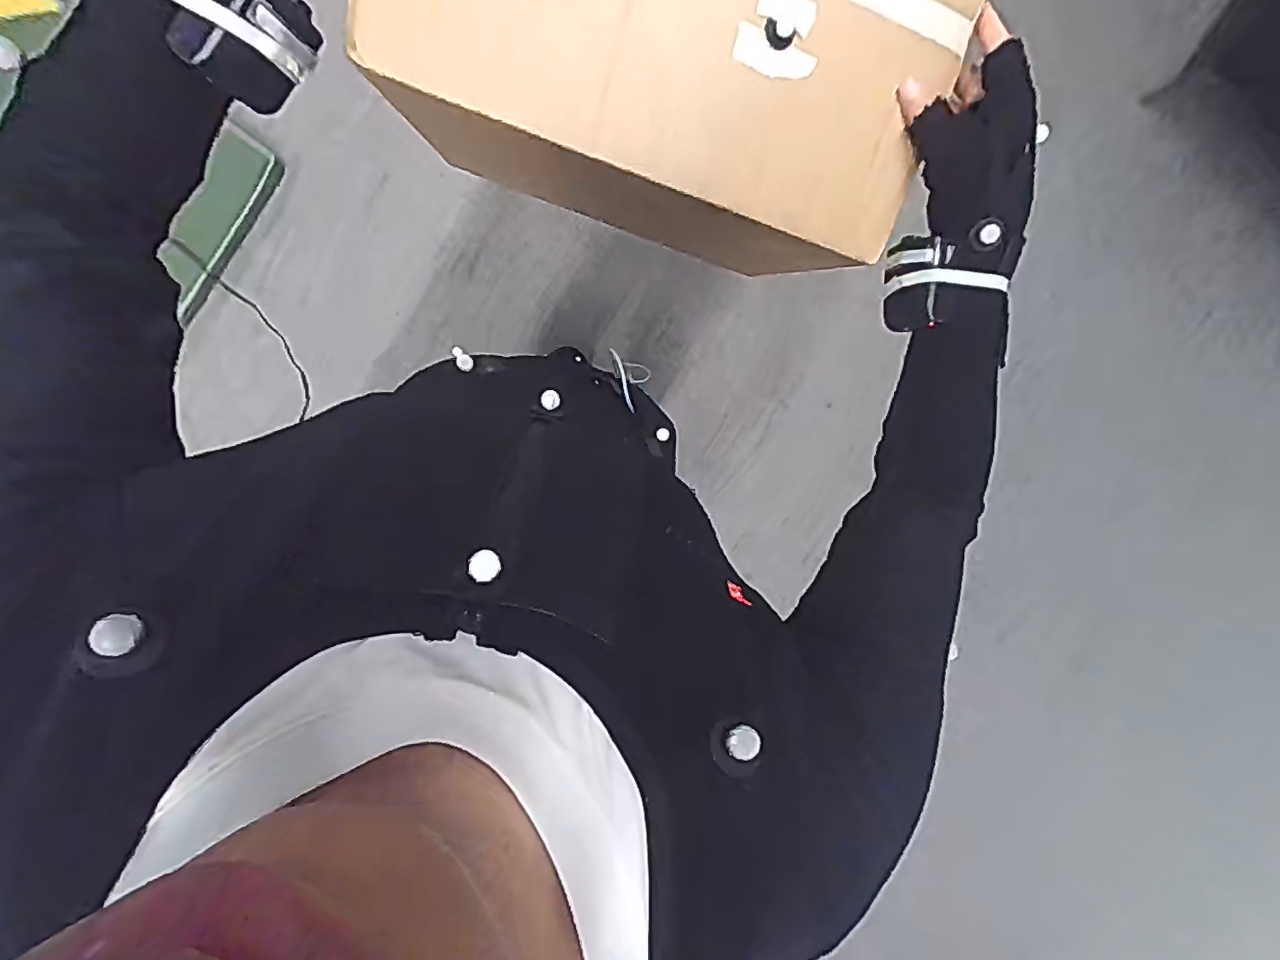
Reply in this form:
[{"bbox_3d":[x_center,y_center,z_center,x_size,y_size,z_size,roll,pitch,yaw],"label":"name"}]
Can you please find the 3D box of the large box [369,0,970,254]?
[{"bbox_3d":[0.025,-0.429,0.494,0.408,0.320,0.320,13,108,-14],"label":"large box"}]
